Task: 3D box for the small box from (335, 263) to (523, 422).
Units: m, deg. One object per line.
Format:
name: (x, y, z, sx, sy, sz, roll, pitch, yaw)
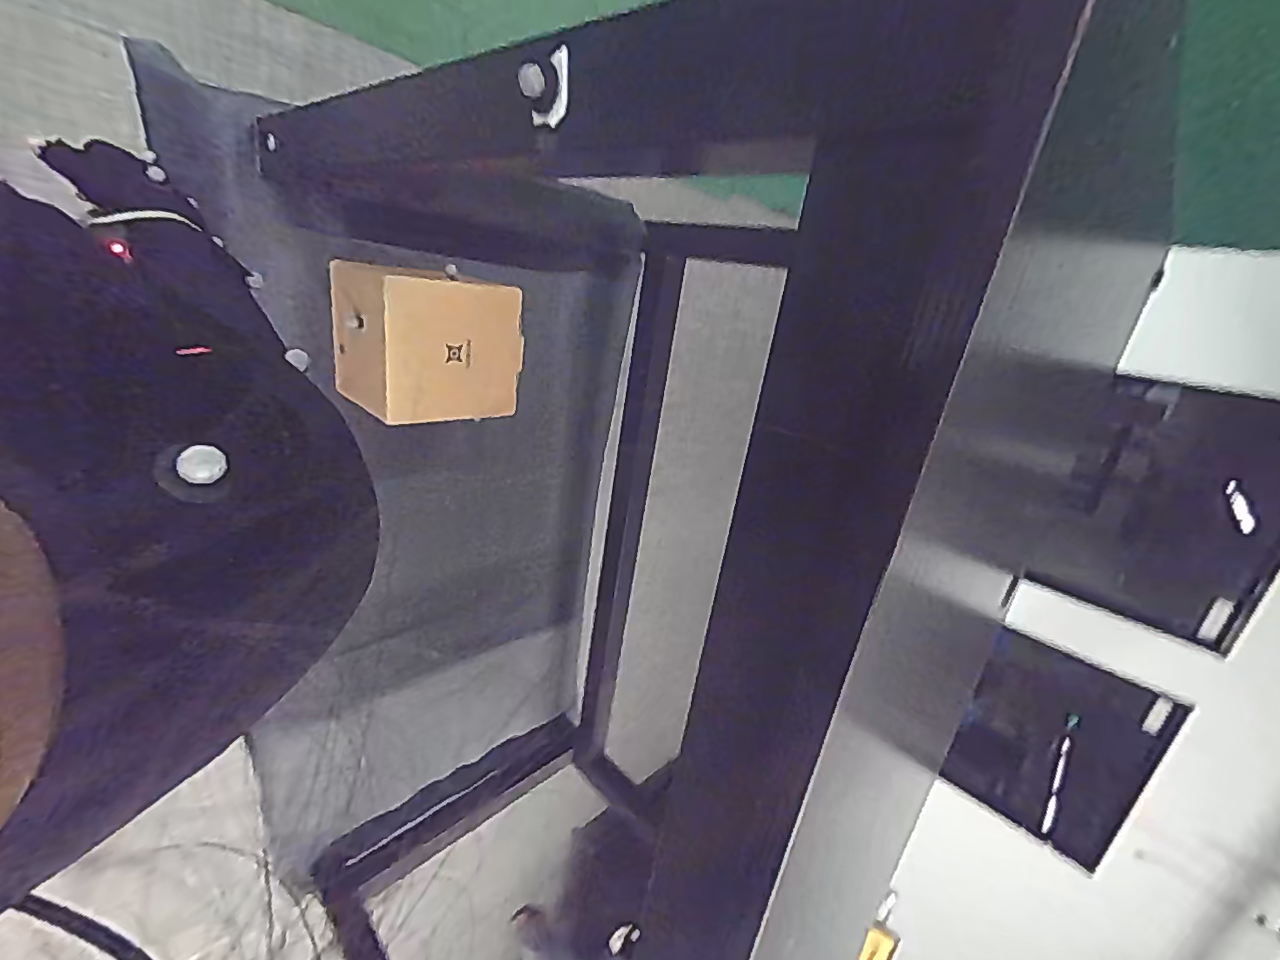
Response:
small box: (-0.275, -0.179, 0.697, 0.179, 0.176, 0.168, -13, 120, -46)
